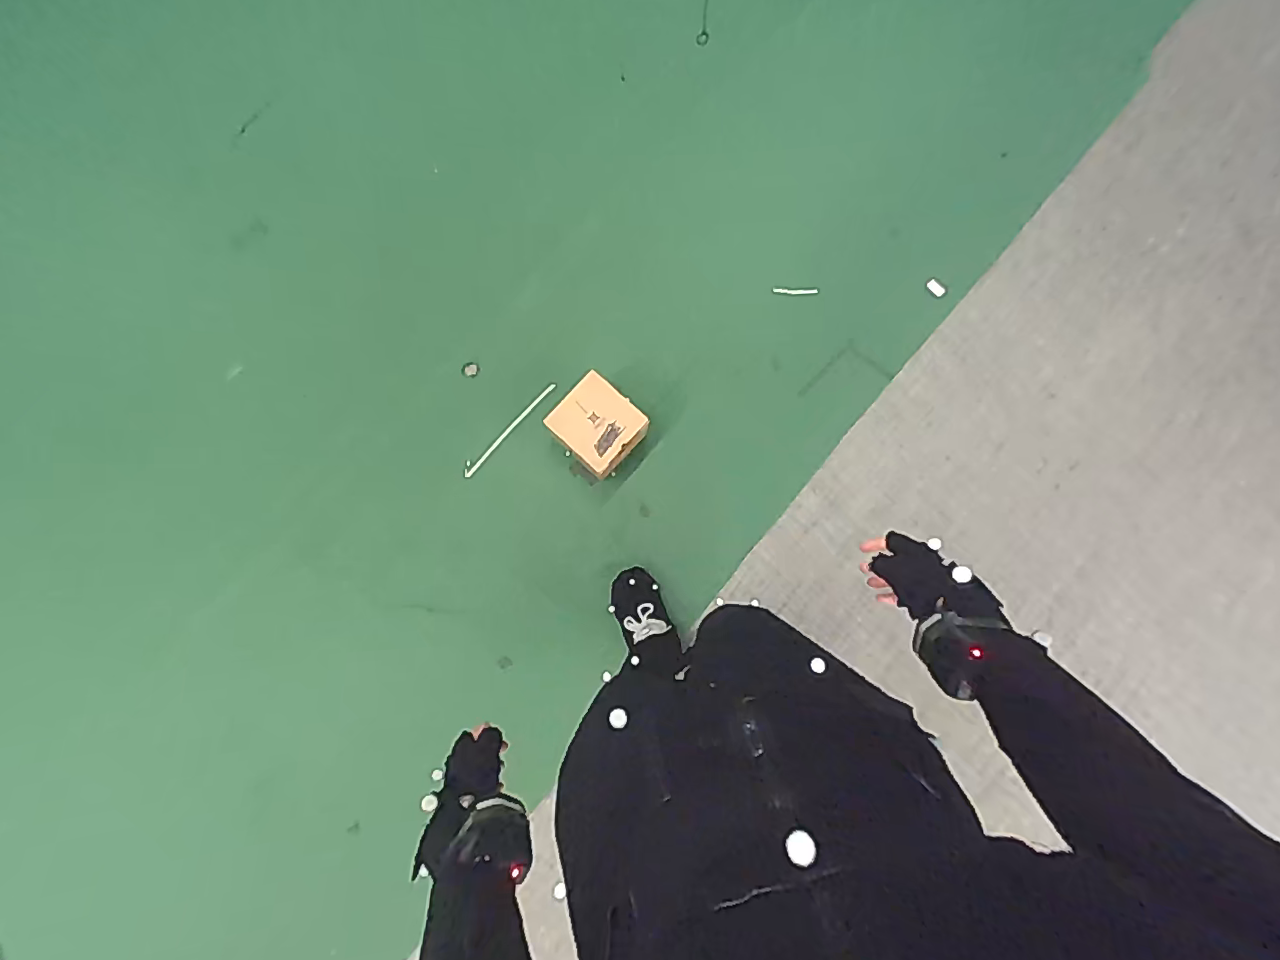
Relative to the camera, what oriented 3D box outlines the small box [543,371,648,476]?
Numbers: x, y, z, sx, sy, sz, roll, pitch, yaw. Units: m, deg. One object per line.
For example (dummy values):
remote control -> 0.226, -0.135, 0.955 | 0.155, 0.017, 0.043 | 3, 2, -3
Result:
small box -> -0.100, -0.123, 1.273 | 0.179, 0.176, 0.168 | 42, 84, 3
